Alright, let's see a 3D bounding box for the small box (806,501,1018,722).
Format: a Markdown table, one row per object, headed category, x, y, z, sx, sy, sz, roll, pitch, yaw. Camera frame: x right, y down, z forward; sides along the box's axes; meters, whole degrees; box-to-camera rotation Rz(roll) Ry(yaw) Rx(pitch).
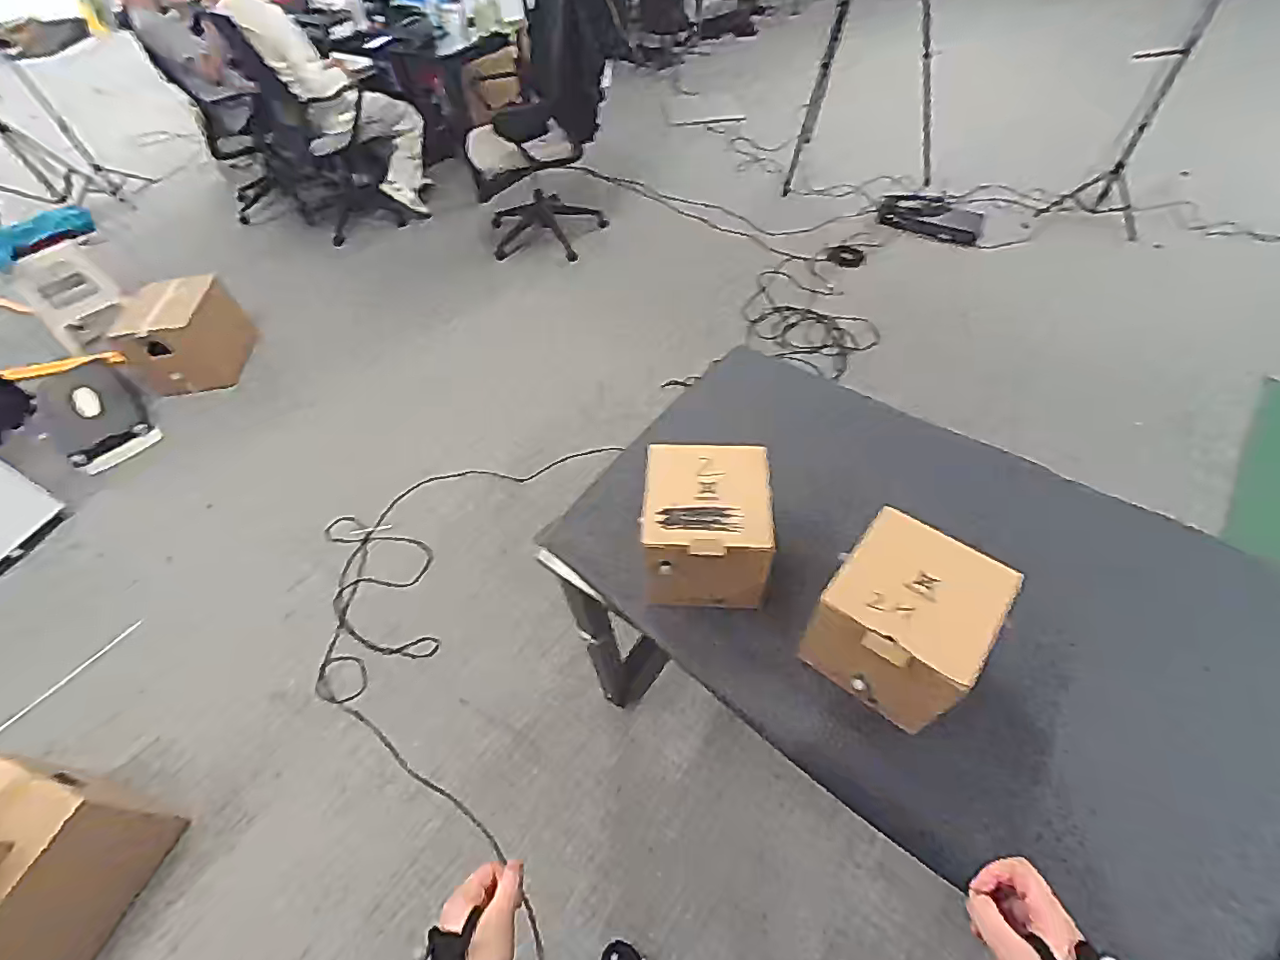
| category | x | y | z | sx | sy | sz | roll | pitch | yaw |
| --- | --- | --- | --- | --- | --- | --- | --- | --- | --- |
| small box | 0.329 | 0.167 | 0.686 | 0.168 | 0.176 | 0.179 | 31 | 60 | 28 |
